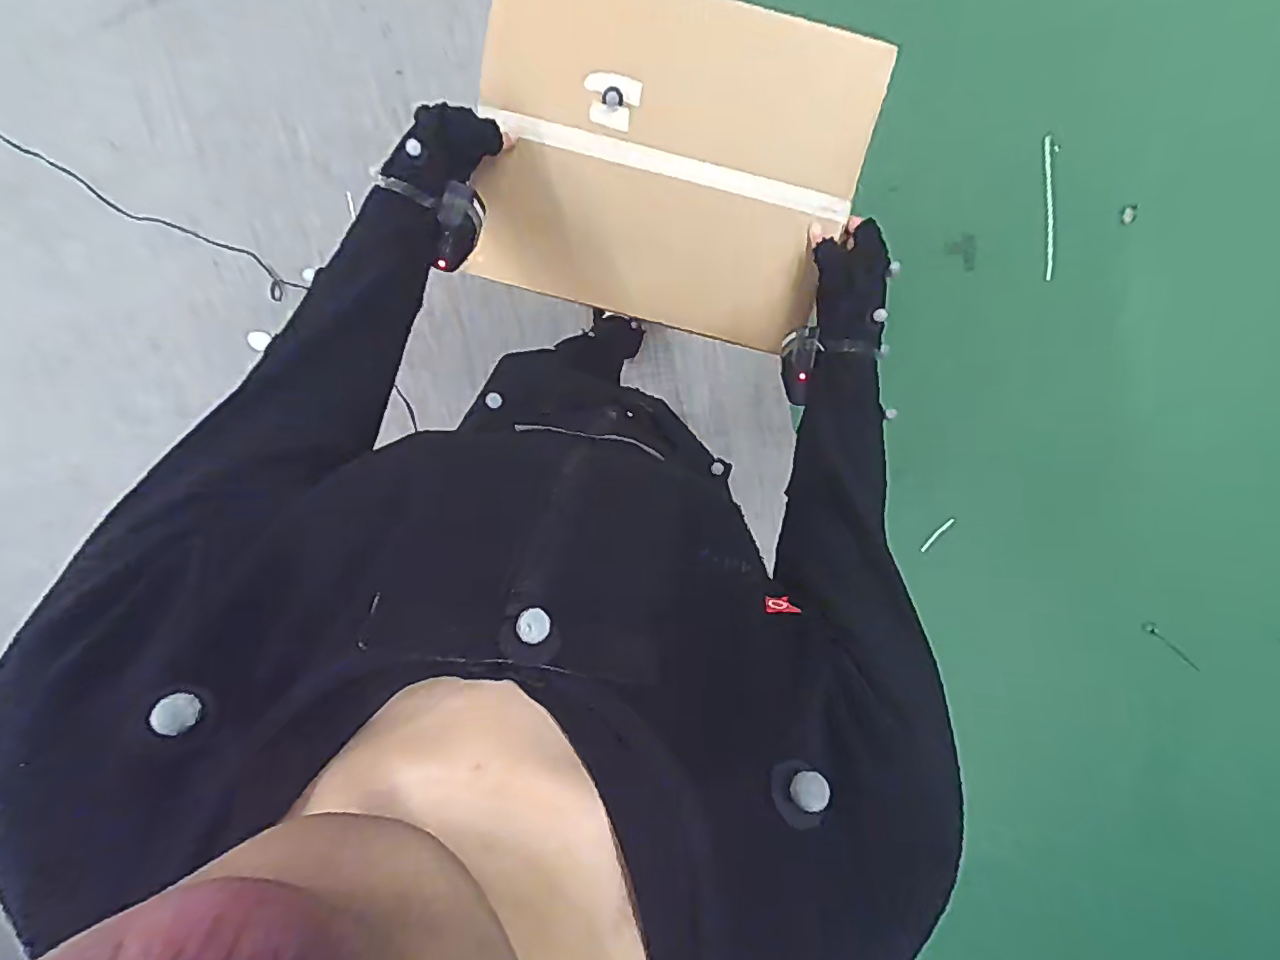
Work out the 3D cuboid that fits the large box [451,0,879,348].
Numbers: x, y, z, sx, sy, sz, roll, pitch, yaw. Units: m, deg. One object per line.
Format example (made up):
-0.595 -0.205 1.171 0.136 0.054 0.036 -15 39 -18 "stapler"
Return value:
0.020 -0.382 0.713 0.408 0.320 0.320 14 107 -1 "large box"
